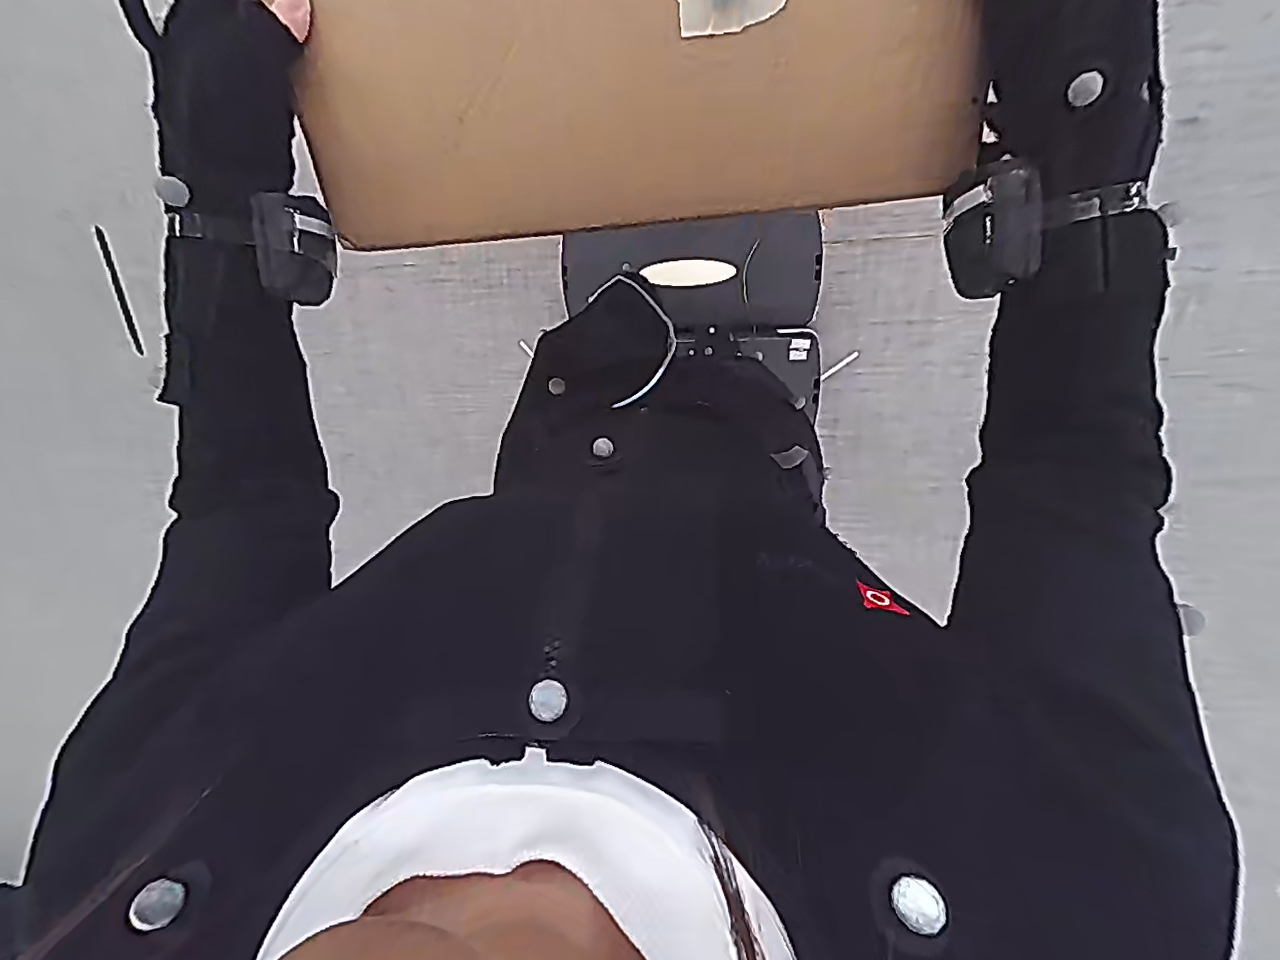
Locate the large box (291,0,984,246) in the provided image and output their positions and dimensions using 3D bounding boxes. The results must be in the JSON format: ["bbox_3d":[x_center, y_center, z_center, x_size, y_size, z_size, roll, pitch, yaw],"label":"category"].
[{"bbox_3d":[0.000,-0.379,0.423,0.408,0.320,0.320,-2,117,9],"label":"large box"}]

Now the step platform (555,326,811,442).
[{"bbox_3d":[0.112,-0.259,1.480,0.684,0.204,0.286,1,109,11],"label":"step platform"}]
